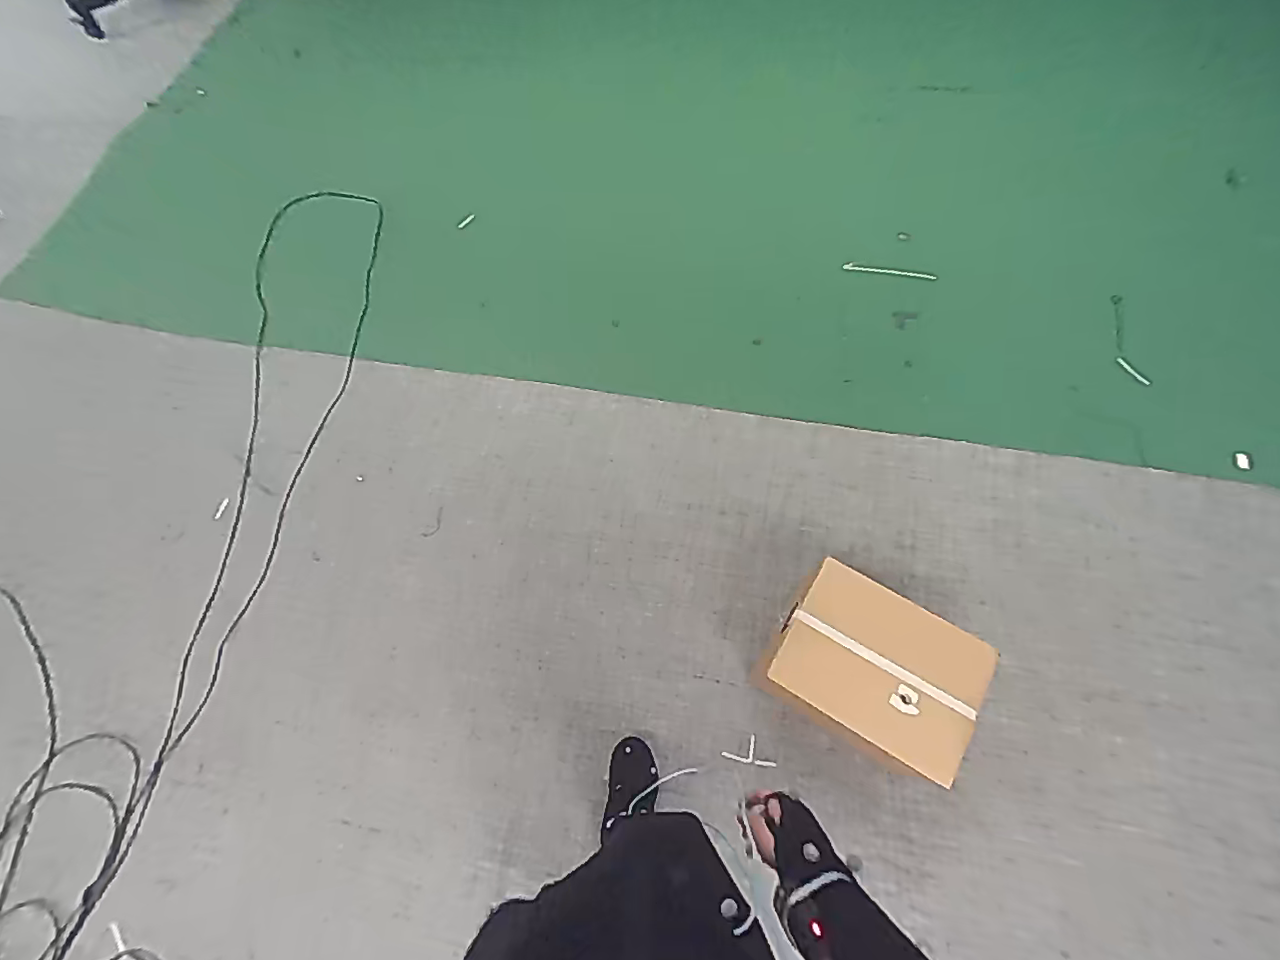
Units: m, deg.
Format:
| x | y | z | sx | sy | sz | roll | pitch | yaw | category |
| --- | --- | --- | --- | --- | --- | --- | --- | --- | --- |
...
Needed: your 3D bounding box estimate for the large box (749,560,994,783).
| x | y | z | sx | sy | sz | roll | pitch | yaw | category |
| --- | --- | --- | --- | --- | --- | --- | --- | --- | --- |
| 0.523 | 0.451 | 1.299 | 0.408 | 0.320 | 0.320 | 29 | 72 | 14 | large box |
